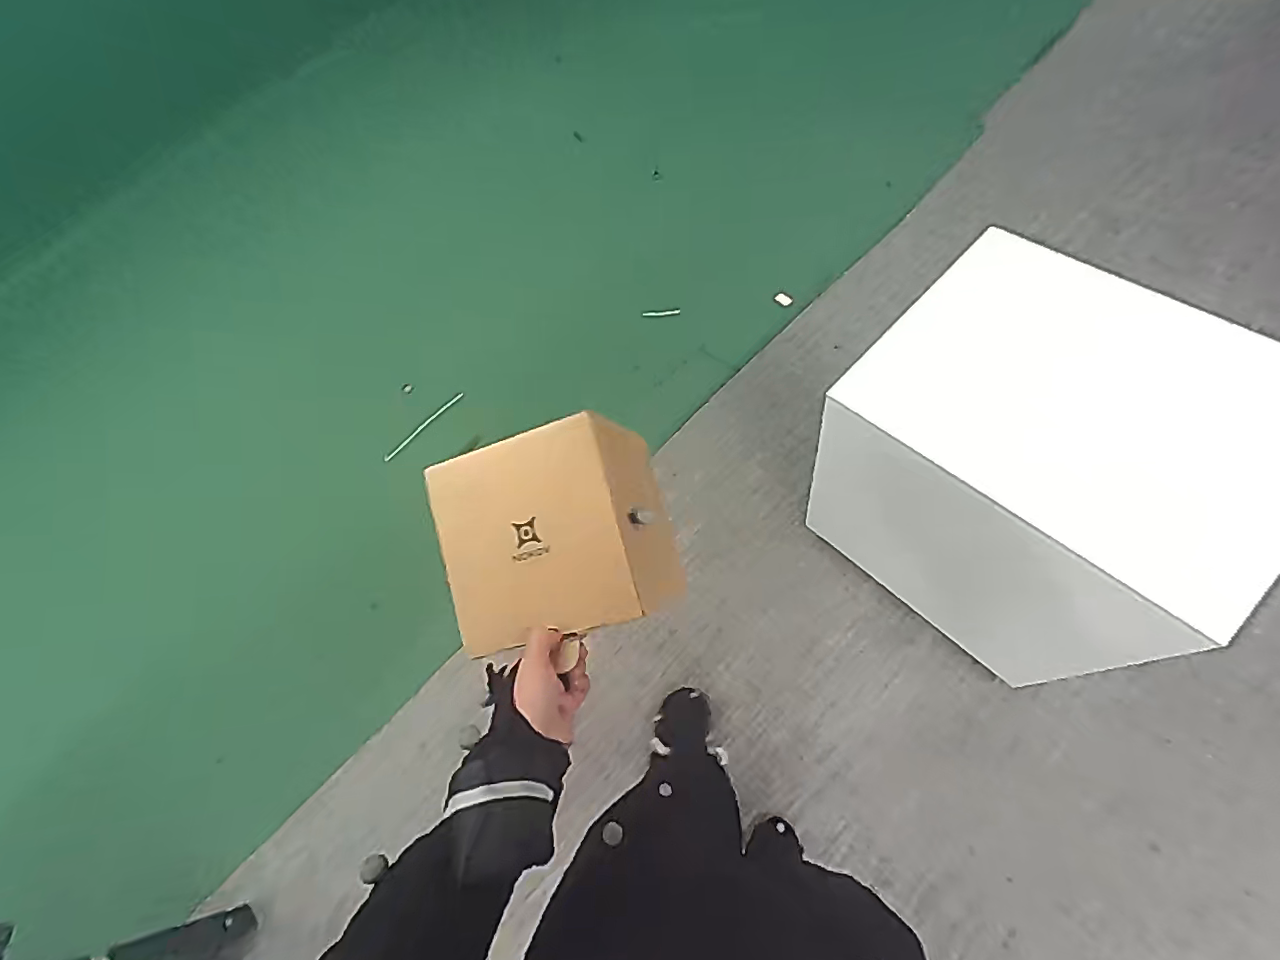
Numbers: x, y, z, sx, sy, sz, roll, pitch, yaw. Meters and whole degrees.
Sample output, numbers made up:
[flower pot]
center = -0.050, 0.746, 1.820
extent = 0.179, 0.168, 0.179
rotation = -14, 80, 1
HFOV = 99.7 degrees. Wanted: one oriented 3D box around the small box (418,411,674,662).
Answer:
[small box]
center = -0.078, 0.053, 0.527
extent = 0.168, 0.176, 0.179
rotation = -19, 83, 13
